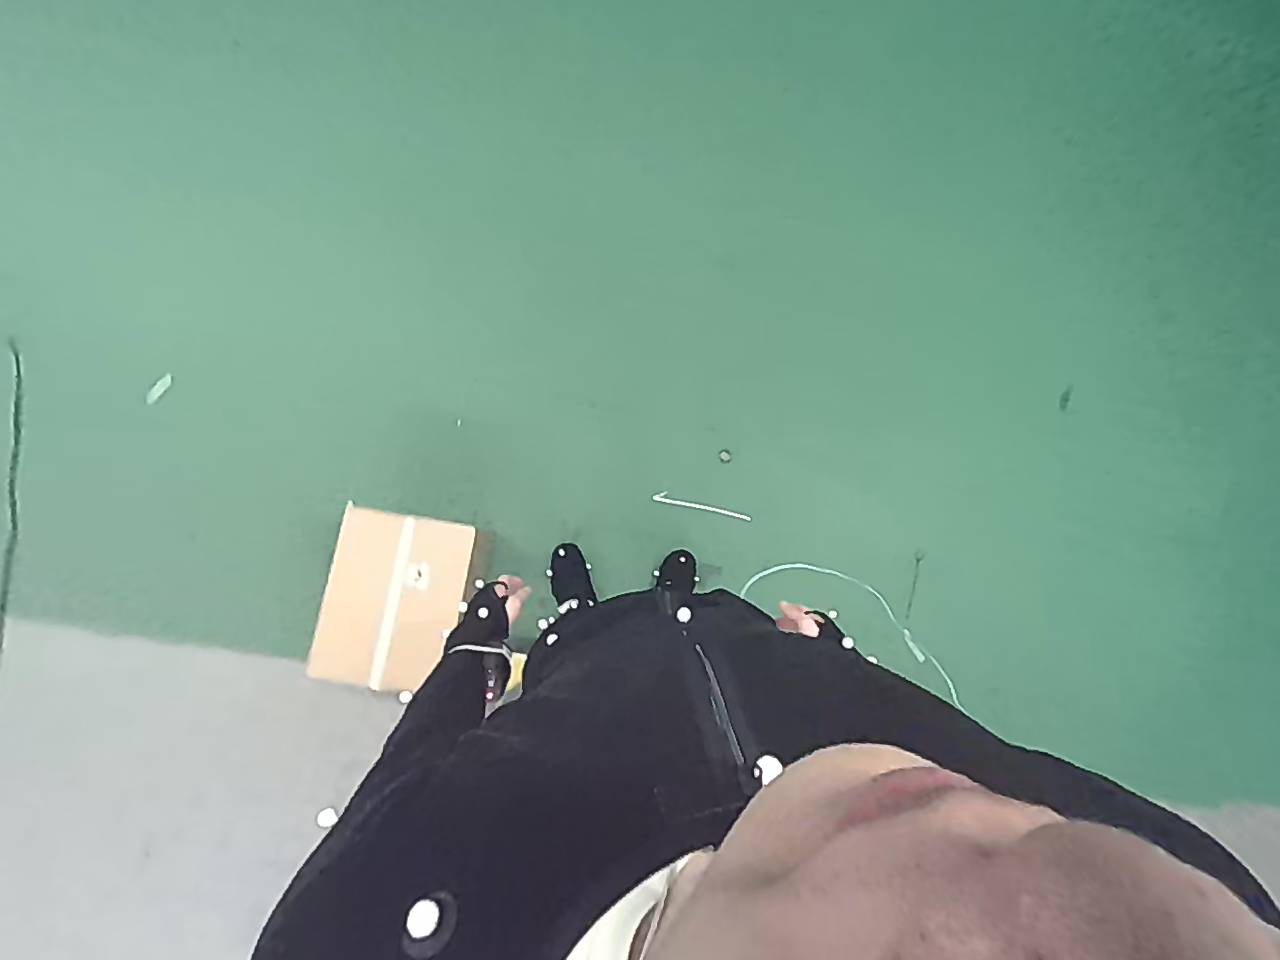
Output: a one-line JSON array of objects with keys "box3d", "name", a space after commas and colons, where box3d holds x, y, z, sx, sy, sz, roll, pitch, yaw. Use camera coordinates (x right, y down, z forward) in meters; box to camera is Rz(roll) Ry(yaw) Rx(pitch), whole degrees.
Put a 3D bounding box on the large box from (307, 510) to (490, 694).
[{"box3d": [-0.605, 0.311, 1.427, 0.320, 0.320, 0.408, 10, 81, -6], "name": "large box"}]
